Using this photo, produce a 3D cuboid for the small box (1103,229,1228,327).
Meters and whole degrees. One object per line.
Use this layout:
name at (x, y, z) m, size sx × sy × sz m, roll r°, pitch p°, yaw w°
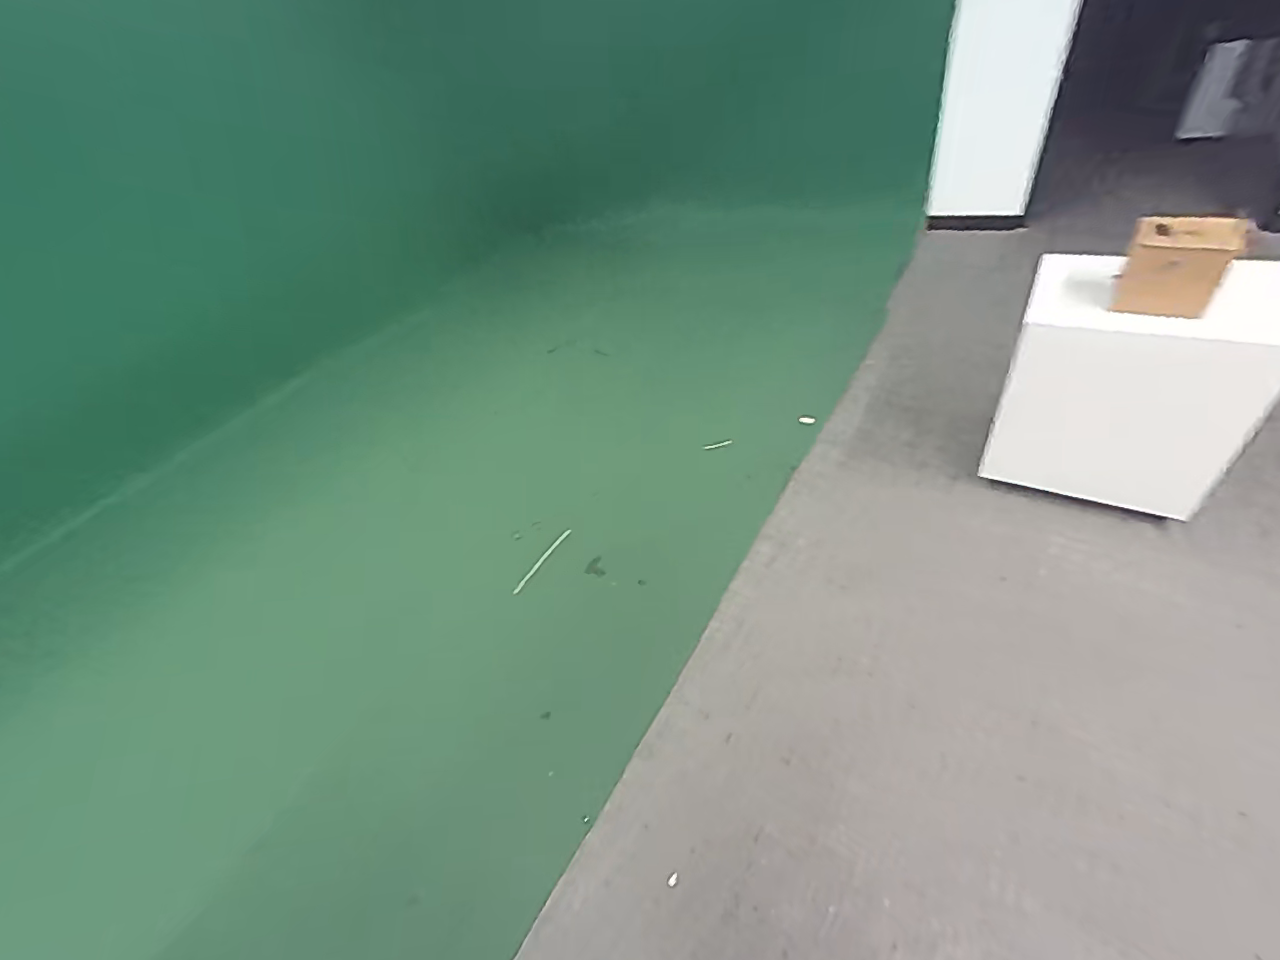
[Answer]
small box at (1.254, -0.486, 1.301) m, size 0.179 × 0.176 × 0.168 m, roll 18°, pitch 52°, yaw 31°
